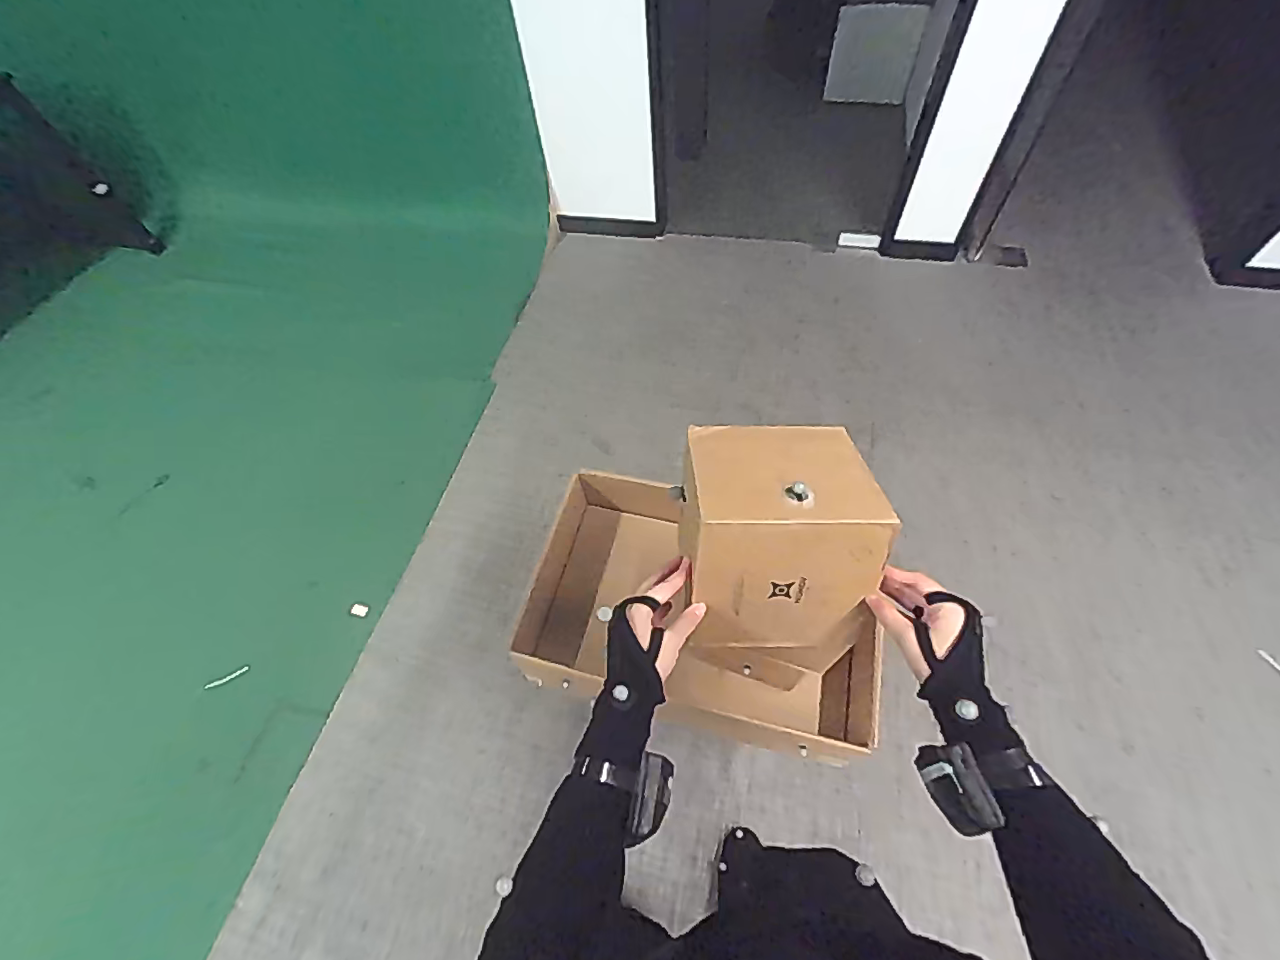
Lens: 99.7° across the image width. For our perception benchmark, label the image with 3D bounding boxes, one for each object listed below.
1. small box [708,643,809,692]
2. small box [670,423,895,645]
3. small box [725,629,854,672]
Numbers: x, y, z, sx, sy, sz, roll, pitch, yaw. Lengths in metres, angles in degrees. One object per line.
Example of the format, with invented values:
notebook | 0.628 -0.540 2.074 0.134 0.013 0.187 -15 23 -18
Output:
small box | 0.225 0.259 0.967 0.168 0.176 0.179 15 60 14
small box | 0.127 0.051 0.565 0.179 0.168 0.176 1 34 -1
small box | 0.224 0.175 0.825 0.179 0.176 0.168 14 60 13
